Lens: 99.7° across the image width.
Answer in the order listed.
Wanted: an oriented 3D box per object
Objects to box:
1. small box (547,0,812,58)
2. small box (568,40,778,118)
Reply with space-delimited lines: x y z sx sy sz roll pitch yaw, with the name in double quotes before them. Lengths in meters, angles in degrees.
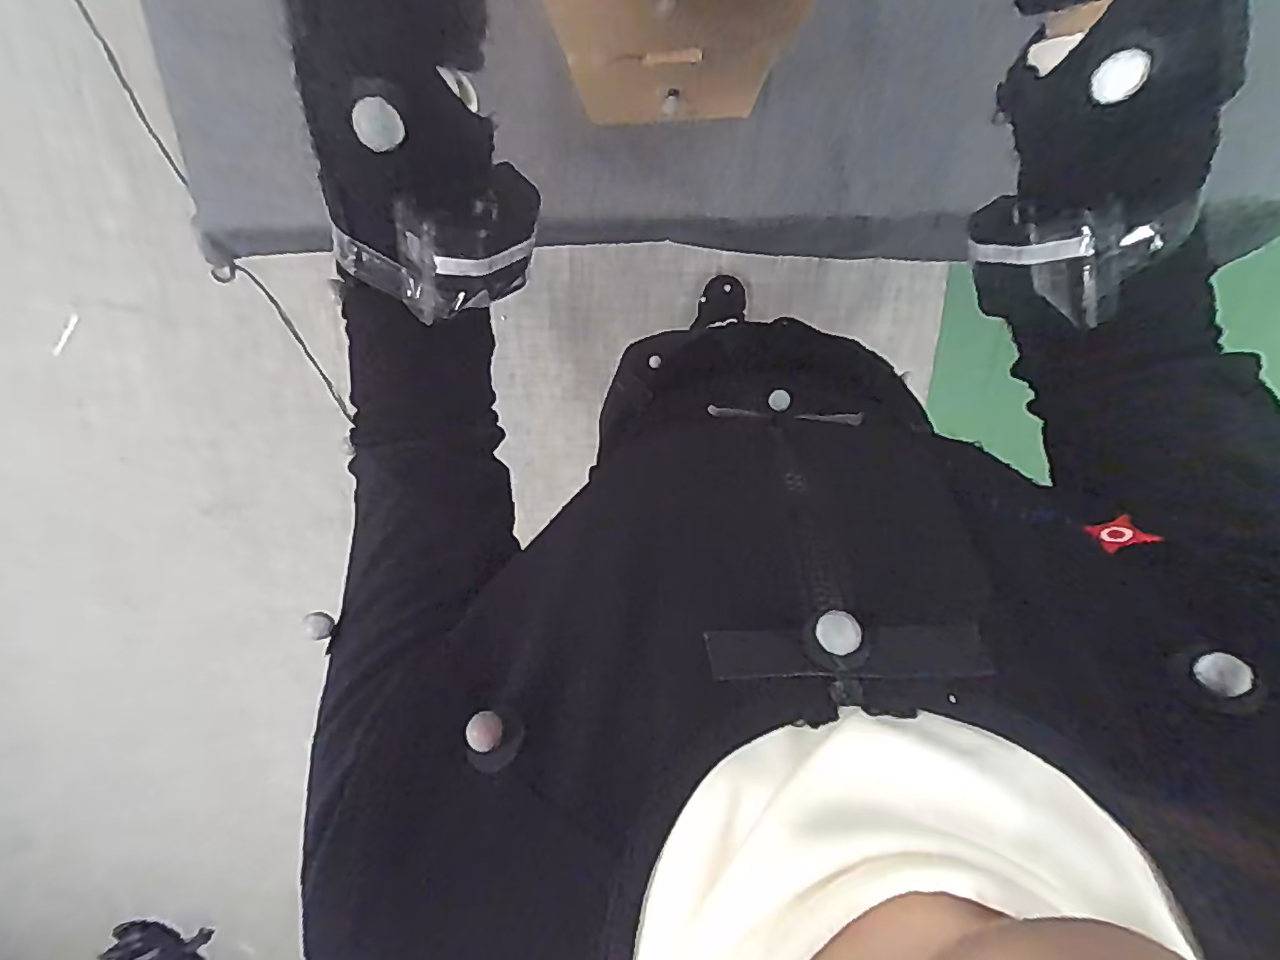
"small box" 0.027 -0.375 0.313 0.179 0.176 0.168 1 109 3
"small box" 0.028 -0.433 0.467 0.168 0.176 0.179 -1 110 3
